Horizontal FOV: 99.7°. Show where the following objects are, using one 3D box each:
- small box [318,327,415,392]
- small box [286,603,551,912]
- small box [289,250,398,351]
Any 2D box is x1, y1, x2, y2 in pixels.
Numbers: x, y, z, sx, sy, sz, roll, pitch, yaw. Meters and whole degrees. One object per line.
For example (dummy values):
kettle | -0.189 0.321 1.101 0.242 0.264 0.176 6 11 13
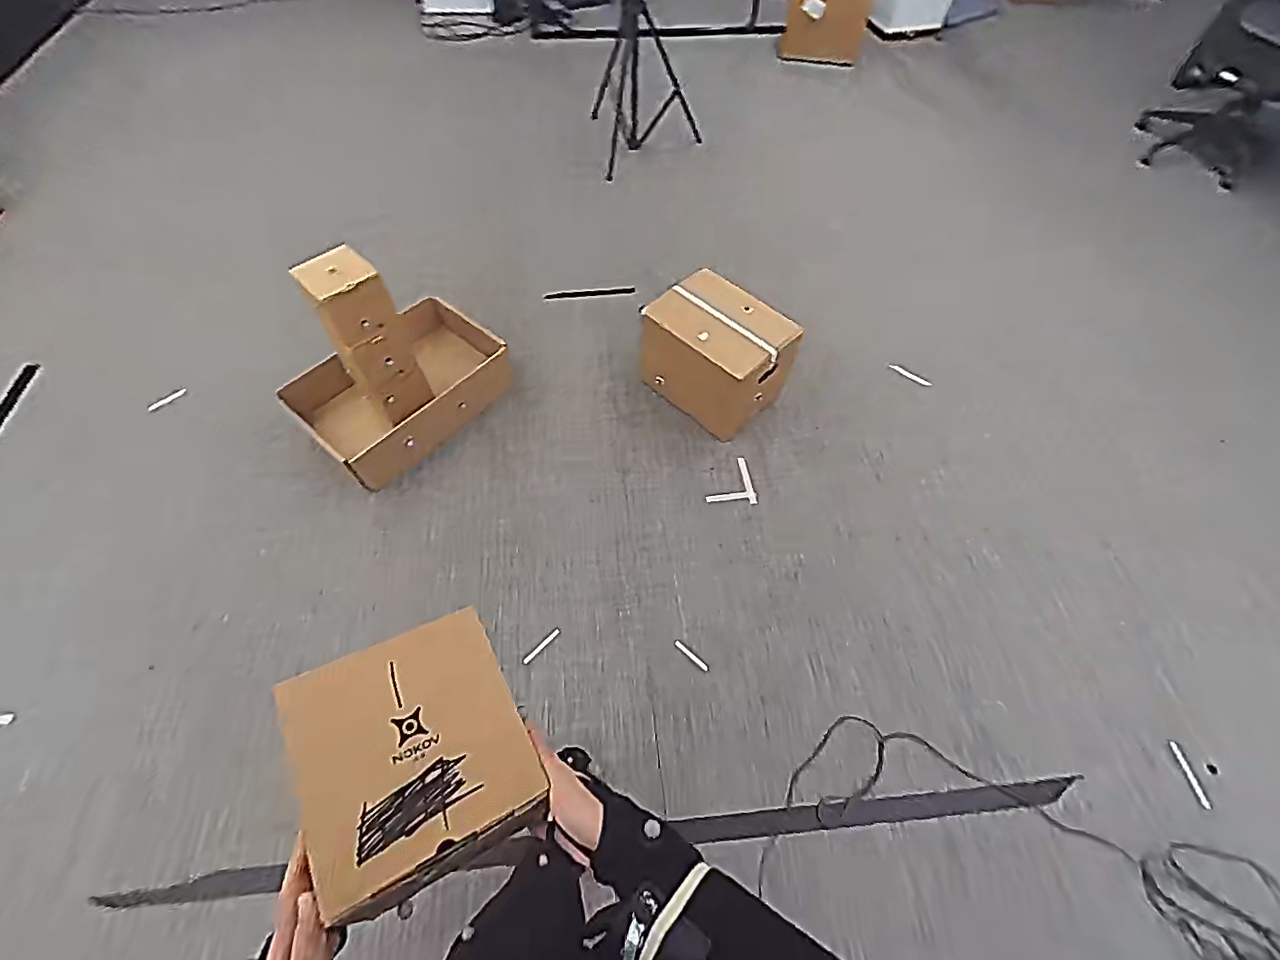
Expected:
small box | -0.800 -0.387 1.602 0.179 0.176 0.168 39 64 21
small box | -0.192 0.249 0.494 0.168 0.176 0.179 -18 58 -26
small box | -0.799 -0.484 1.471 0.179 0.176 0.168 38 64 21
